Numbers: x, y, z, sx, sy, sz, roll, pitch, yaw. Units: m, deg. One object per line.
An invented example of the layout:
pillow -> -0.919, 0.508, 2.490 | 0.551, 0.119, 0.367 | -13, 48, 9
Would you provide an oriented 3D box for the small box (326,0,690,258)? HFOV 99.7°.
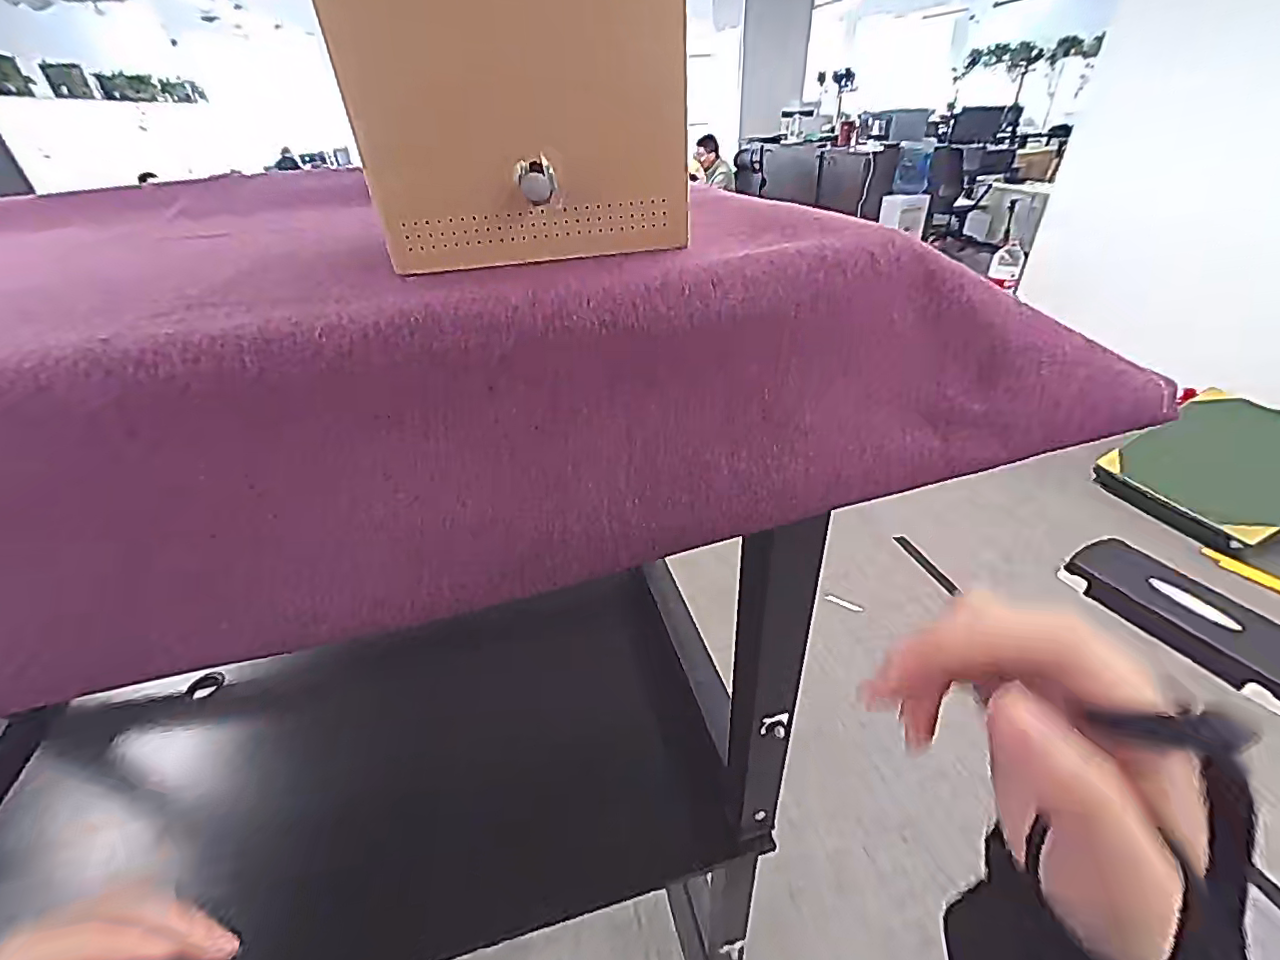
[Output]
small box -> -0.069, -0.246, 0.336 | 0.179, 0.176, 0.168 | -8, 34, -6
